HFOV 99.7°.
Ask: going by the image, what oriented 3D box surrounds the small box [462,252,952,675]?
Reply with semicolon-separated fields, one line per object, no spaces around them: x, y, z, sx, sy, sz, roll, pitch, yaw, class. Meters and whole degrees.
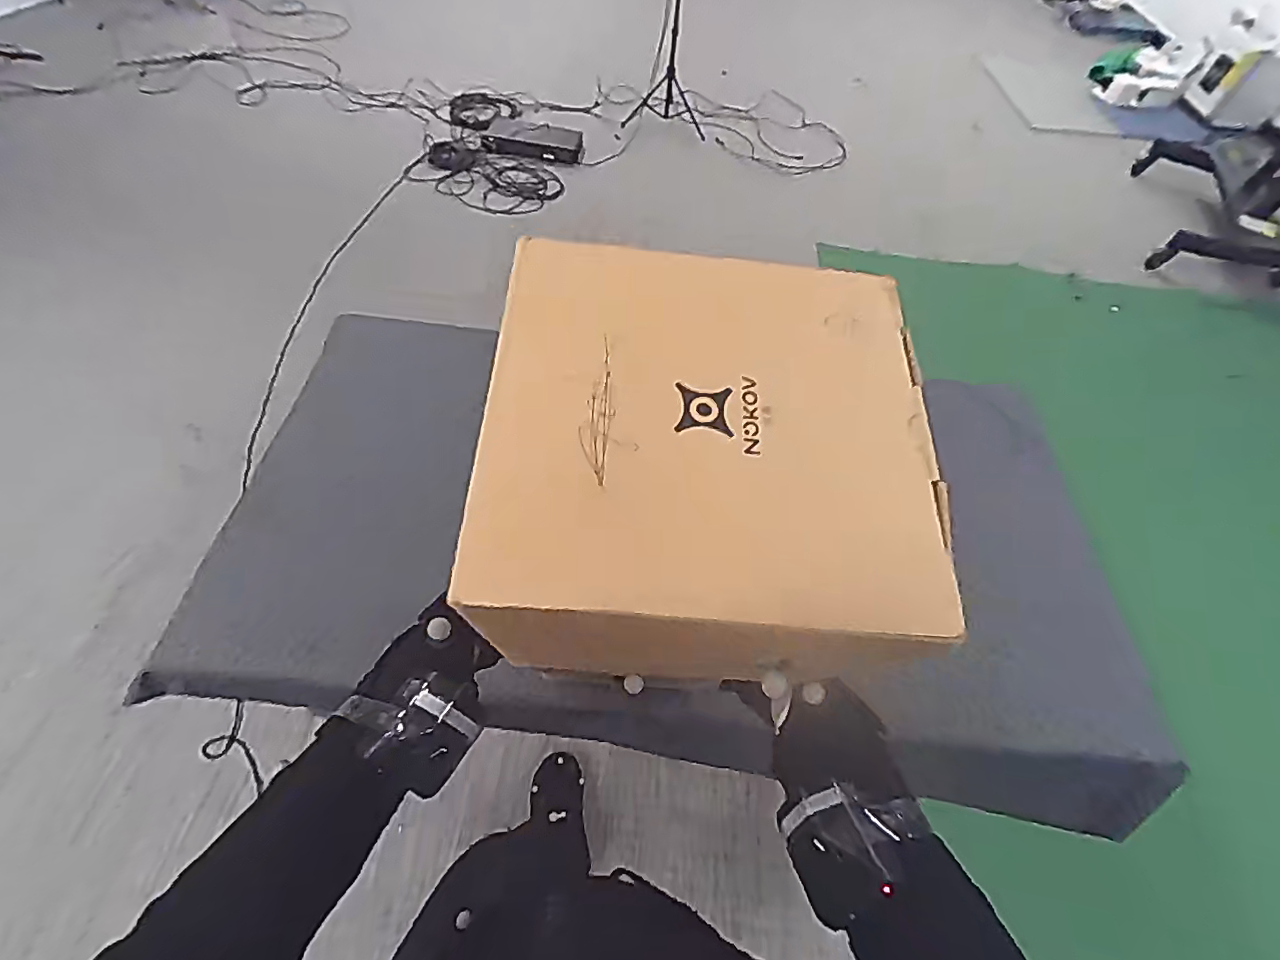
0.023;0.008;0.293;0.179;0.176;0.168;4;64;-2;small box
